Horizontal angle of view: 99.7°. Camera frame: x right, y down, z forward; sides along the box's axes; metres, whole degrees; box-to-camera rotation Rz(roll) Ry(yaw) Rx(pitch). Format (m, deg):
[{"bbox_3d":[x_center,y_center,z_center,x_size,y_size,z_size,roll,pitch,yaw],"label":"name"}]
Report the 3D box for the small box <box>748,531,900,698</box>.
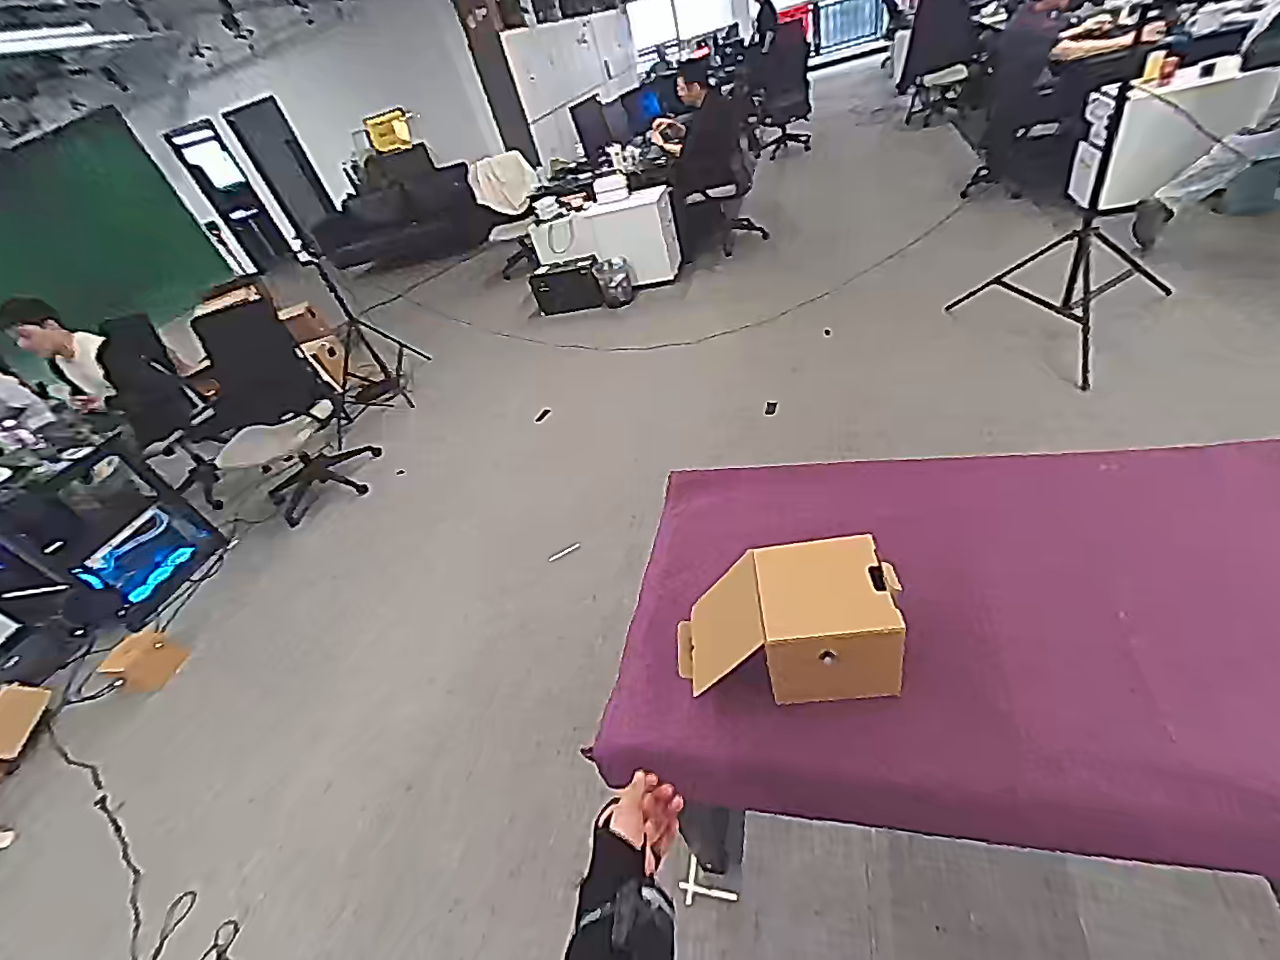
[{"bbox_3d":[0.262,0.200,0.786,0.179,0.176,0.168,-9,40,11],"label":"small box"}]
